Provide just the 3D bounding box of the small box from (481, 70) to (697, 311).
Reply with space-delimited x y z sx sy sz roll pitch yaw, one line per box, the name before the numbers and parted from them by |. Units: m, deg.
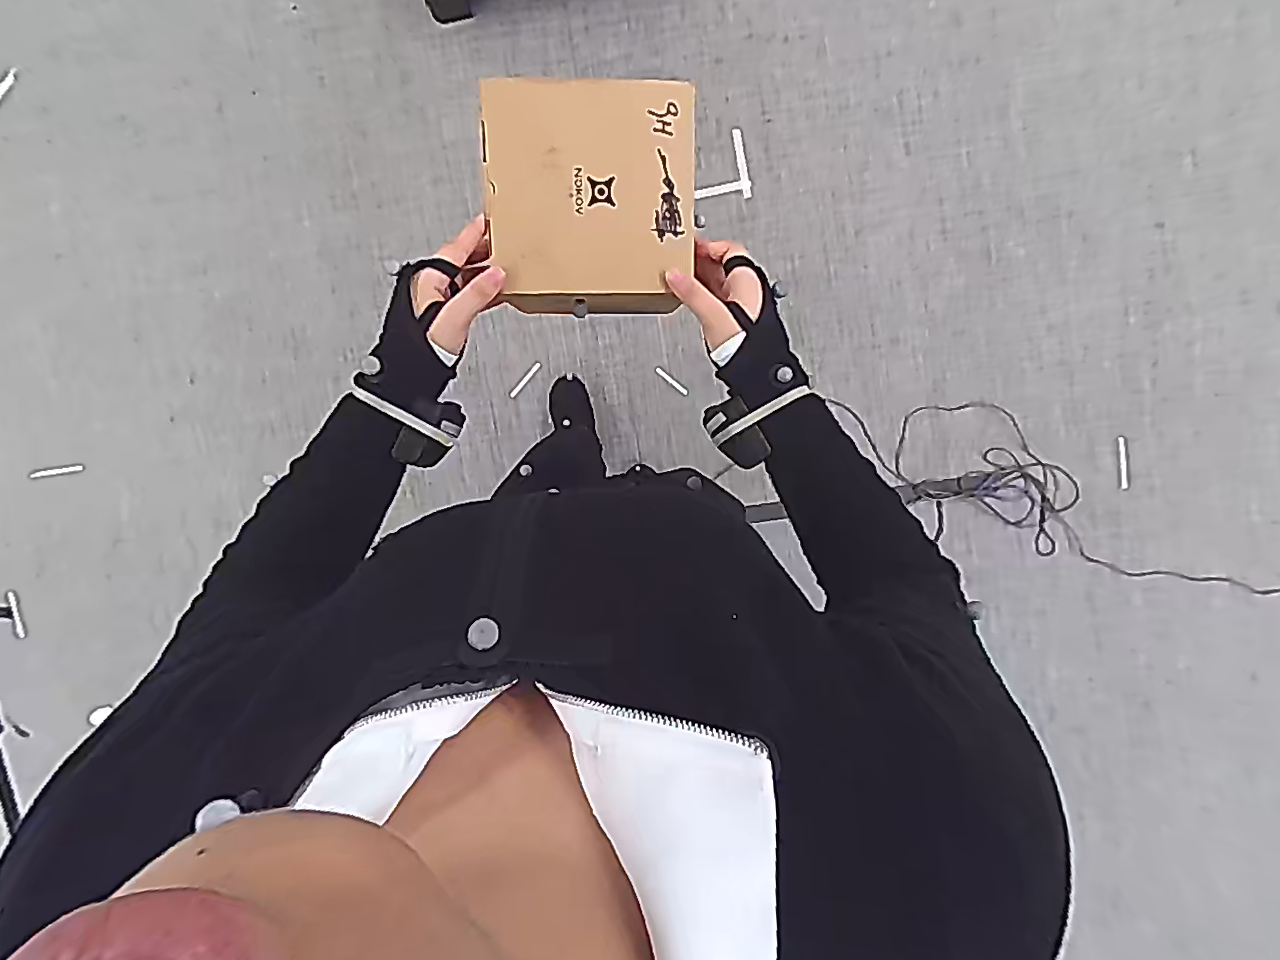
small box | -0.044 -0.259 0.525 0.179 0.176 0.168 -1 100 -2
